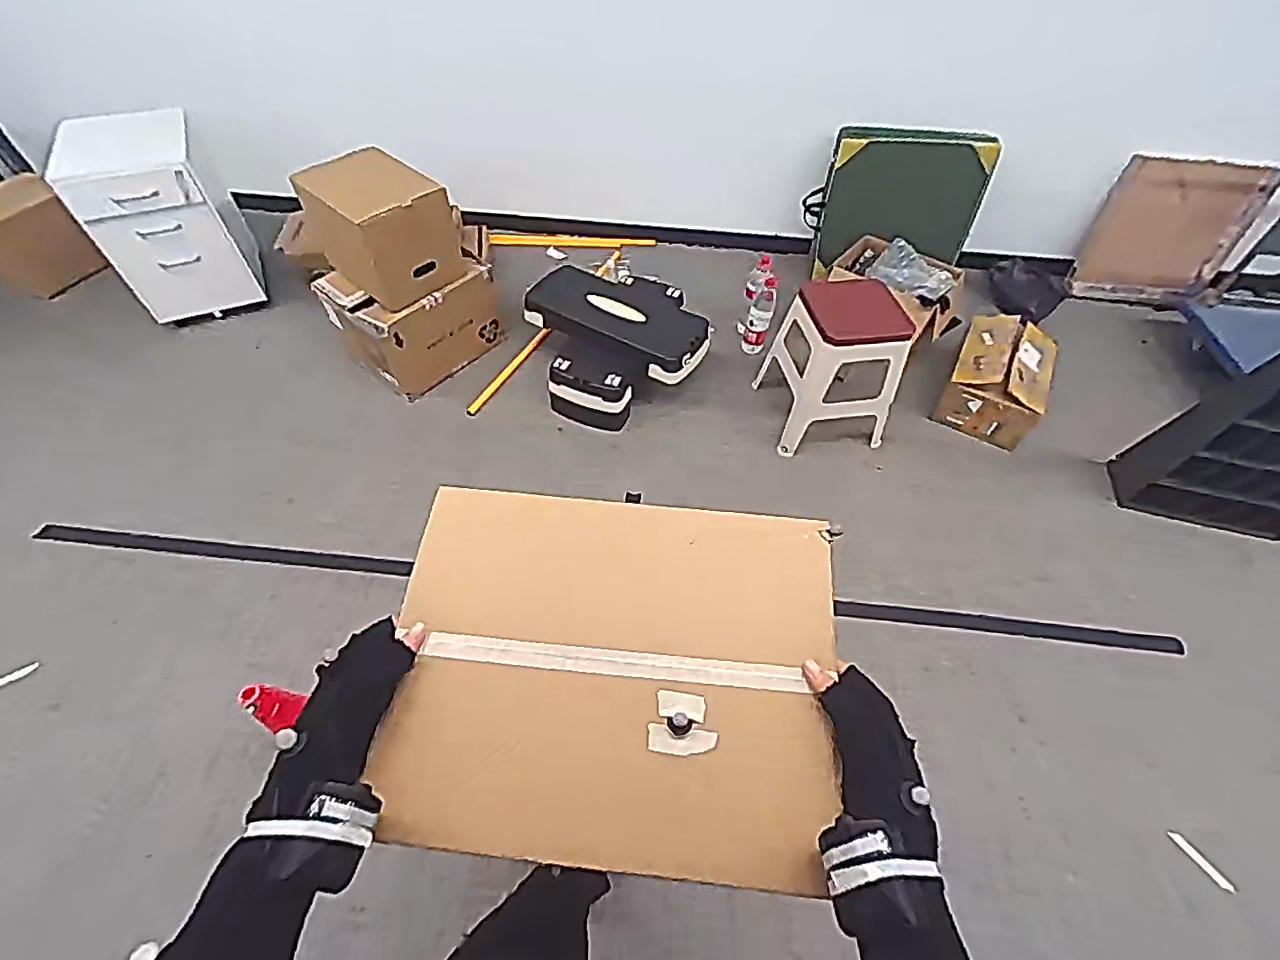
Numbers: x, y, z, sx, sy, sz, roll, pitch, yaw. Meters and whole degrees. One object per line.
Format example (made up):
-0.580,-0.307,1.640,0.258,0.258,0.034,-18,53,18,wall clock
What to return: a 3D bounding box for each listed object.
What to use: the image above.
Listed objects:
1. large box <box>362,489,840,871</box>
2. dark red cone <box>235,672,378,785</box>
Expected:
-0.024,0.227,0.638,0.408,0.320,0.320,5,65,3,large box
-0.743,0.496,1.153,0.201,0.394,0.202,12,53,5,dark red cone
